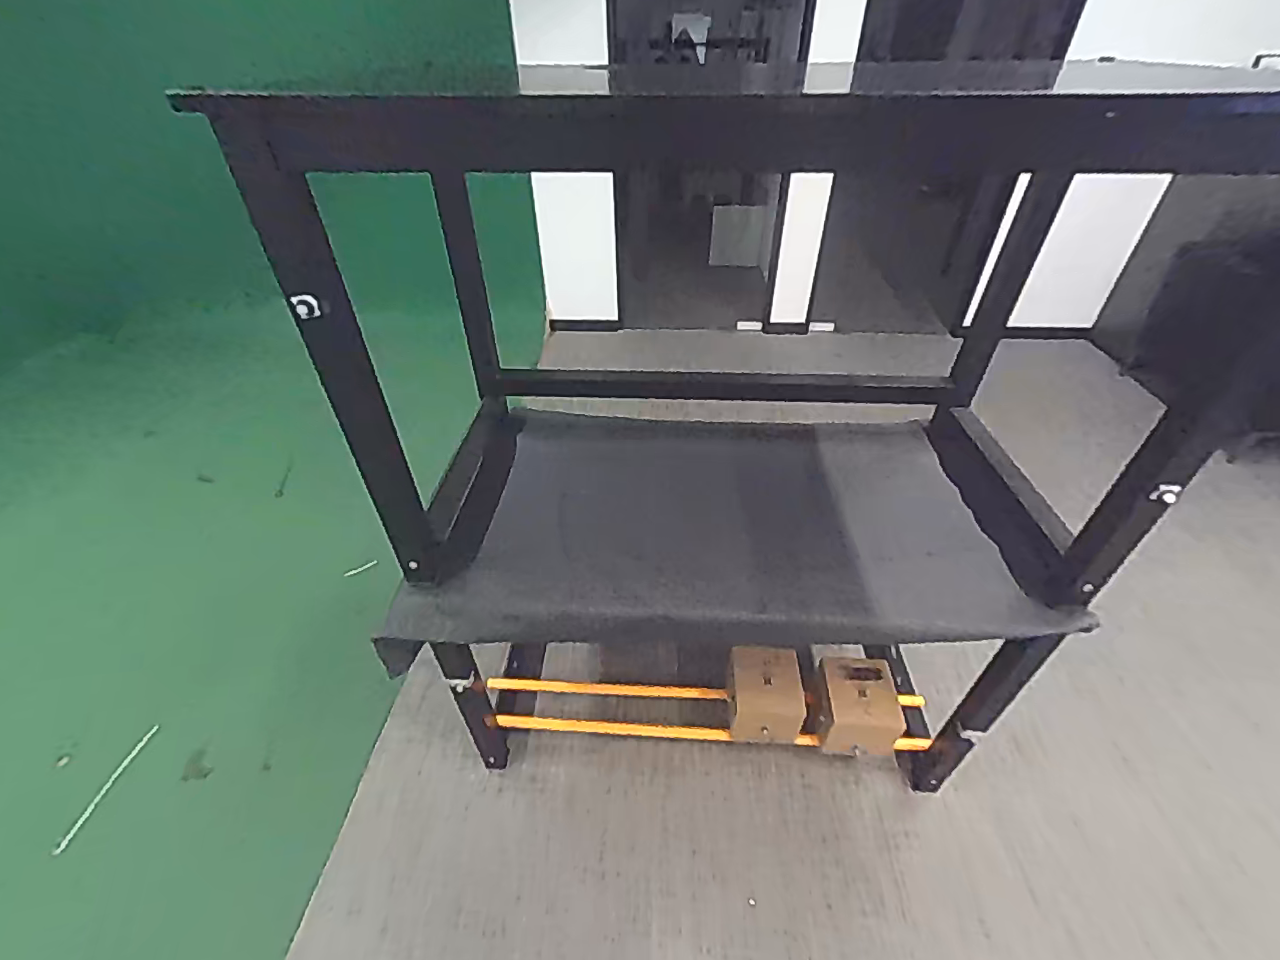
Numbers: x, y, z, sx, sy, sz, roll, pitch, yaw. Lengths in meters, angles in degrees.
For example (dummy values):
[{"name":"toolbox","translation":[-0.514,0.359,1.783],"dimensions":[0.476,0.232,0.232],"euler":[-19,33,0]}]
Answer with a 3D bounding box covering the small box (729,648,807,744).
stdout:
[{"name":"small box","translation":[0.321,0.556,1.387],"dimensions":[0.168,0.176,0.179],"euler":[1,40,3]}]
